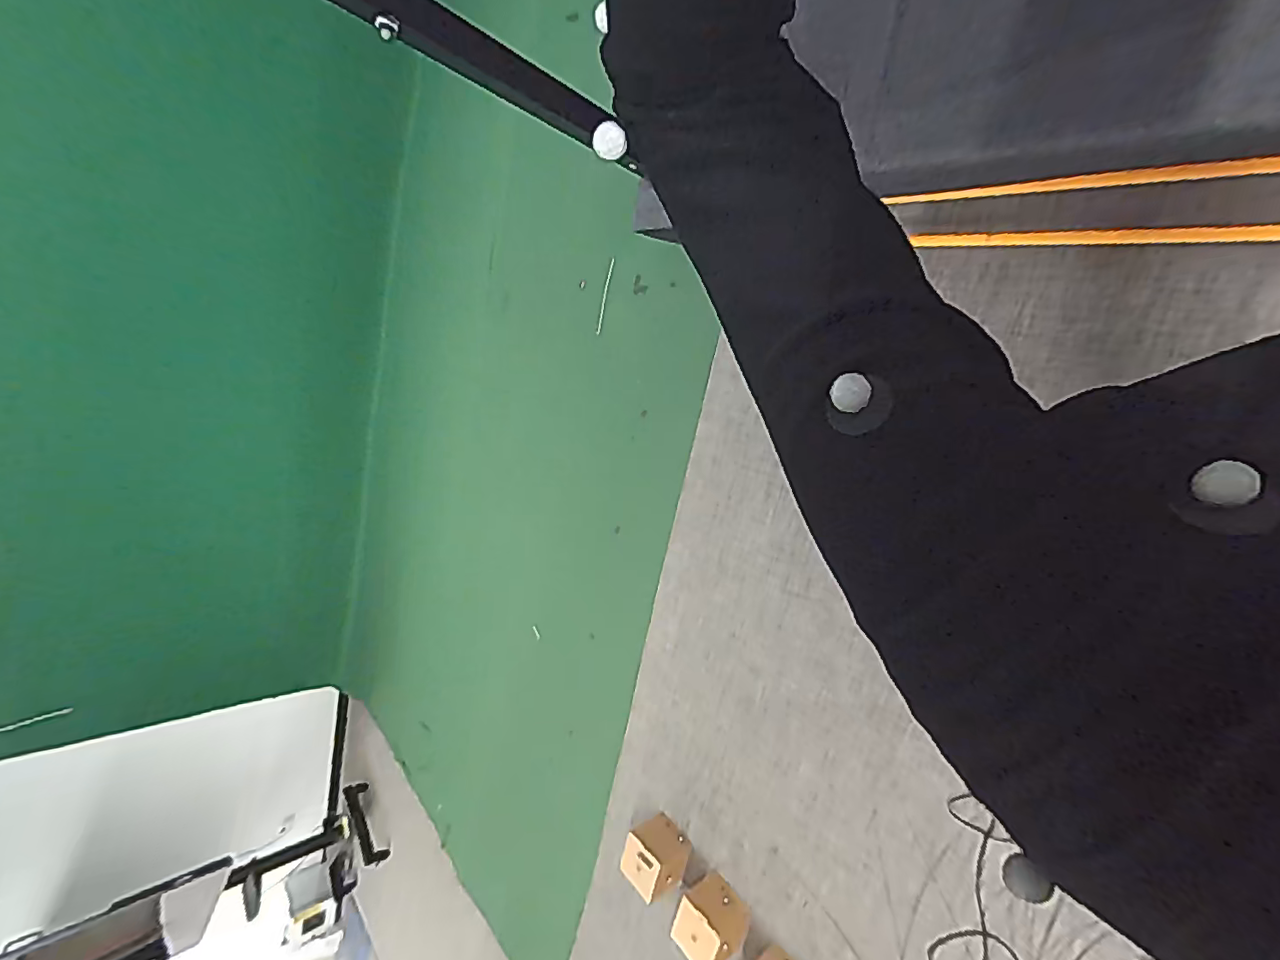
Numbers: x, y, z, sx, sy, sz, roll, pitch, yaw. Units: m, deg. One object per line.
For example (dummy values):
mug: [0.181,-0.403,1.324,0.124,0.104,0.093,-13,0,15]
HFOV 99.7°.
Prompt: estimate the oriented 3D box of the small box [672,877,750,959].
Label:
small box: [0.237,1.470,1.777,0.168,0.176,0.179,26,107,43]

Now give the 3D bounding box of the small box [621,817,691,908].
small box: [0.060,1.374,1.956,0.168,0.176,0.179,26,108,43]
